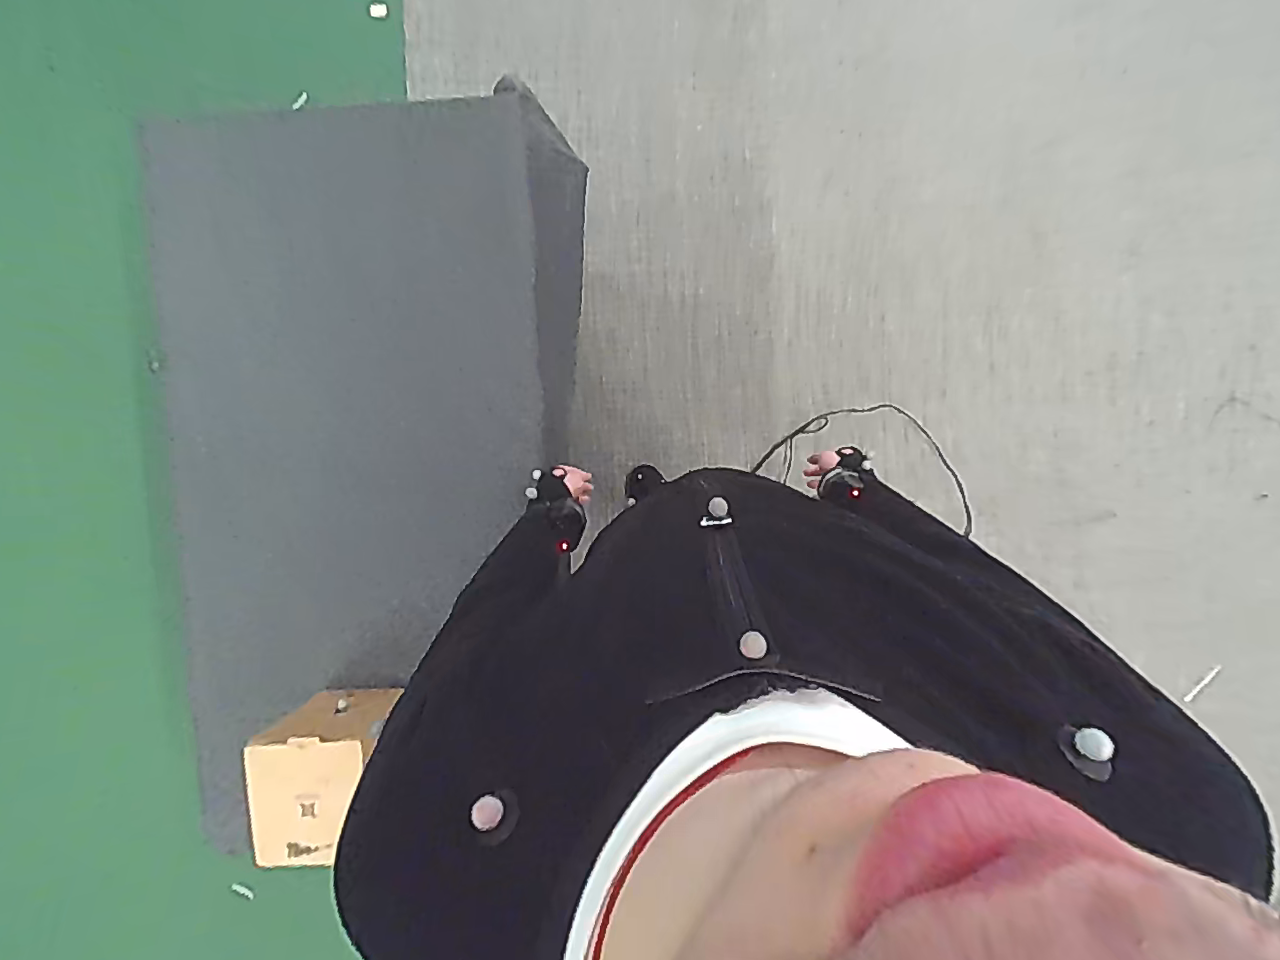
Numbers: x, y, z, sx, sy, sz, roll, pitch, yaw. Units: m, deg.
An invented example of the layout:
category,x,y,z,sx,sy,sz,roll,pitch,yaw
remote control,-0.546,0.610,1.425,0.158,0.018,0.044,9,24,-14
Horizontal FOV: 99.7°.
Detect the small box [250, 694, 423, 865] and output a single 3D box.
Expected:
category,x,y,z,sx,sy,sz,roll,pitch,yaw
small box,-0.444,0.435,0.815,0.168,0.176,0.179,-3,92,3
